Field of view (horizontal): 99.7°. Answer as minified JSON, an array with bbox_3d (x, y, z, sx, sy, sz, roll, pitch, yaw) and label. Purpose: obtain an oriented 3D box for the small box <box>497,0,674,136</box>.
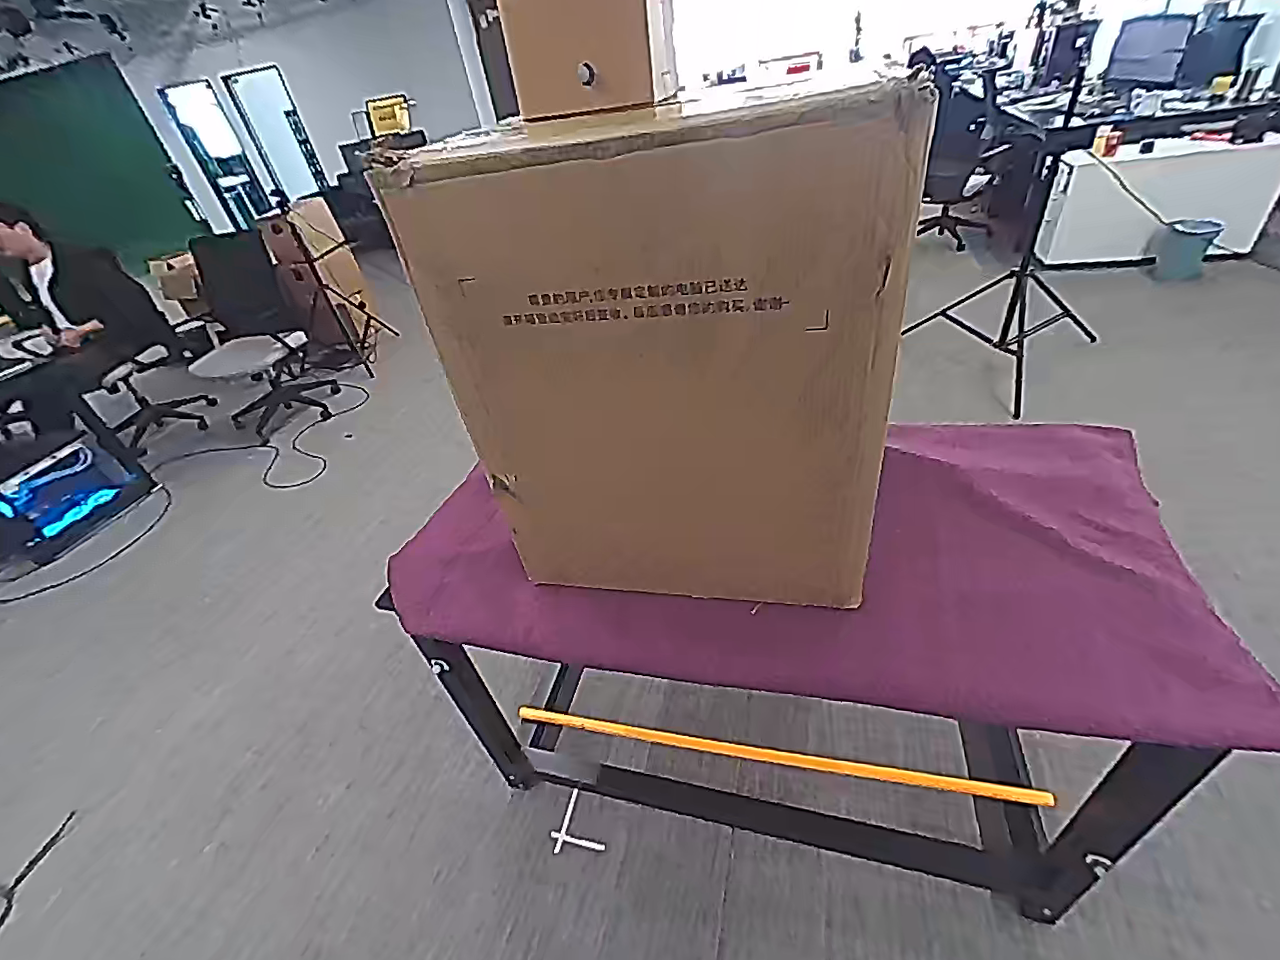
[{"bbox_3d":[-0.062,-0.549,0.679,0.179,0.176,0.168,3,39,16],"label":"small box"}]
